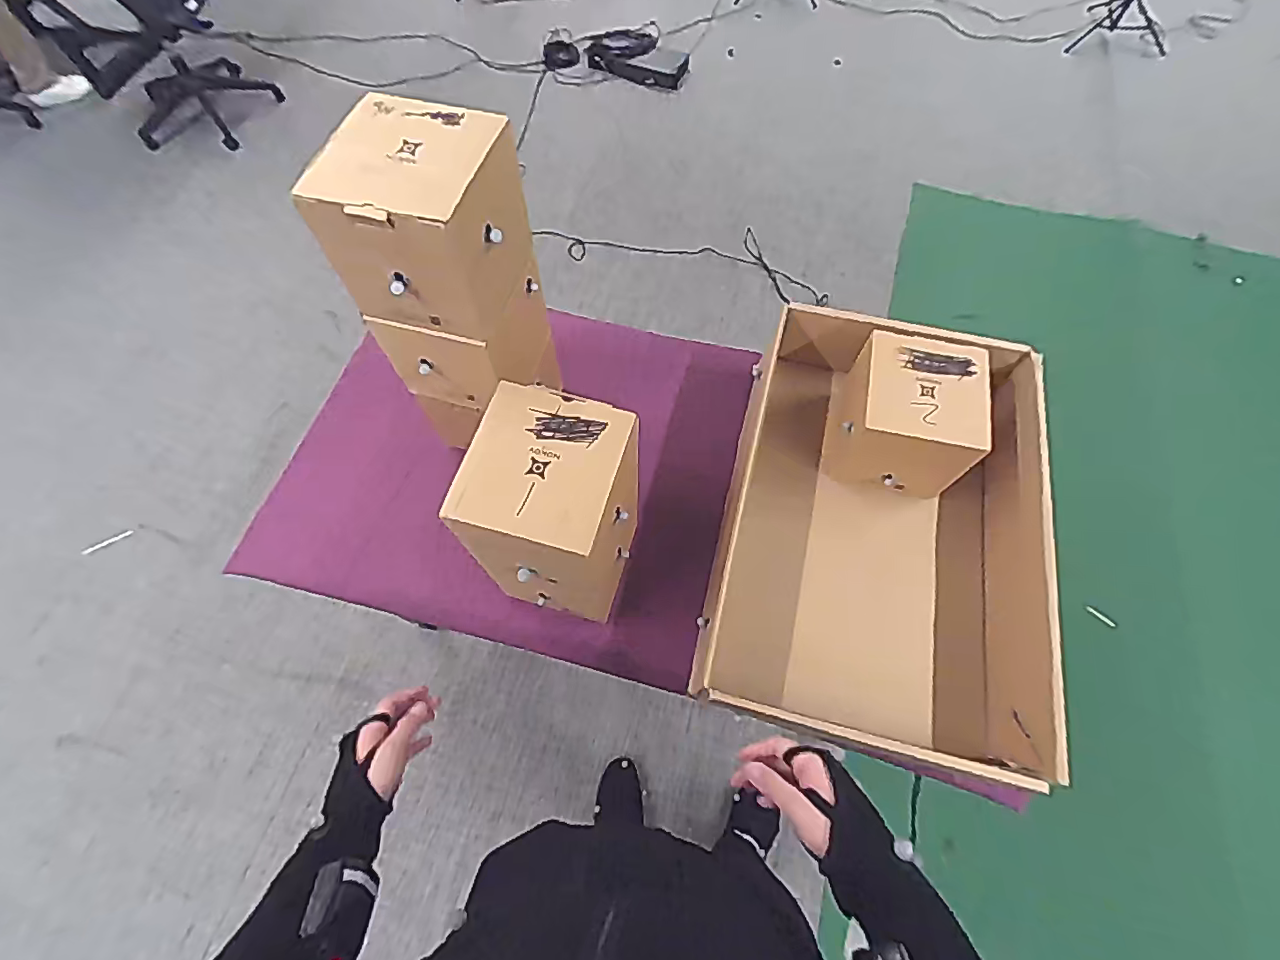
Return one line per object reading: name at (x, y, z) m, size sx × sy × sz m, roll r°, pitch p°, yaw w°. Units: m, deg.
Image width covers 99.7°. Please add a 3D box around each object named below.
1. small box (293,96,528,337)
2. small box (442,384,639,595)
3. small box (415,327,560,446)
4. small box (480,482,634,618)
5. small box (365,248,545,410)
small box at (-0.241, -0.294, 0.624) m, size 0.168 × 0.176 × 0.179 m, roll 13°, pitch 66°, yaw 5°
small box at (-0.105, 0.018, 0.652) m, size 0.168 × 0.176 × 0.179 m, roll 15°, pitch 65°, yaw 7°
small box at (-0.244, -0.154, 0.918) m, size 0.168 × 0.176 × 0.179 m, roll 14°, pitch 65°, yaw 5°
small box at (-0.108, 0.089, 0.800) m, size 0.168 × 0.176 × 0.179 m, roll 15°, pitch 65°, yaw 6°
small box at (-0.245, -0.219, 0.770) m, size 0.168 × 0.176 × 0.179 m, roll 14°, pitch 65°, yaw 6°
